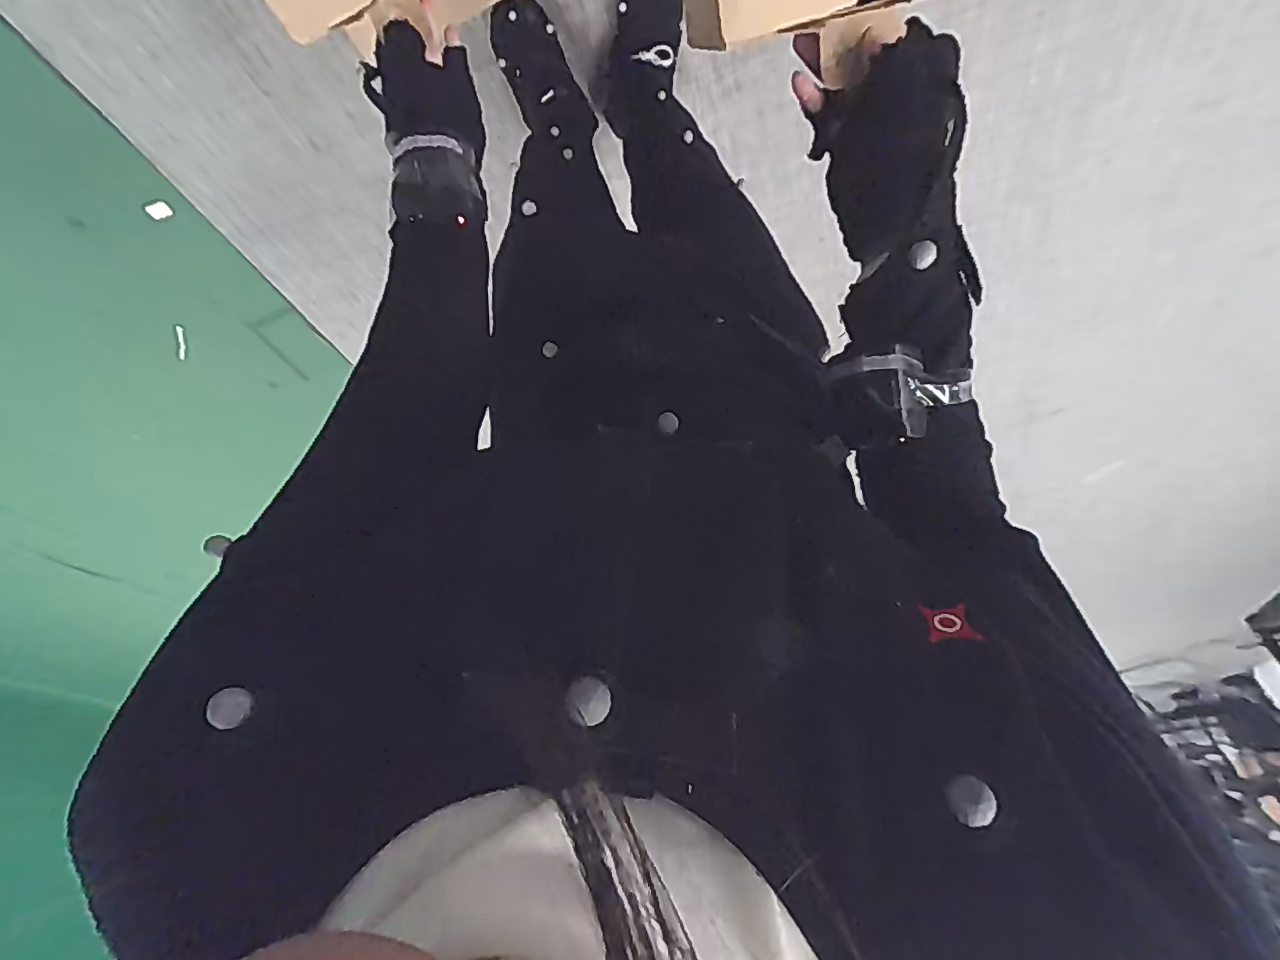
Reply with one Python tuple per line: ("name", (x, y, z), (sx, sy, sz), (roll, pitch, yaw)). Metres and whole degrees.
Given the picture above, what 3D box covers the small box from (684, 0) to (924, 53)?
("small box", (0.104, -0.380, 0.314), (0.168, 0.176, 0.179), (-12, 129, 6))
